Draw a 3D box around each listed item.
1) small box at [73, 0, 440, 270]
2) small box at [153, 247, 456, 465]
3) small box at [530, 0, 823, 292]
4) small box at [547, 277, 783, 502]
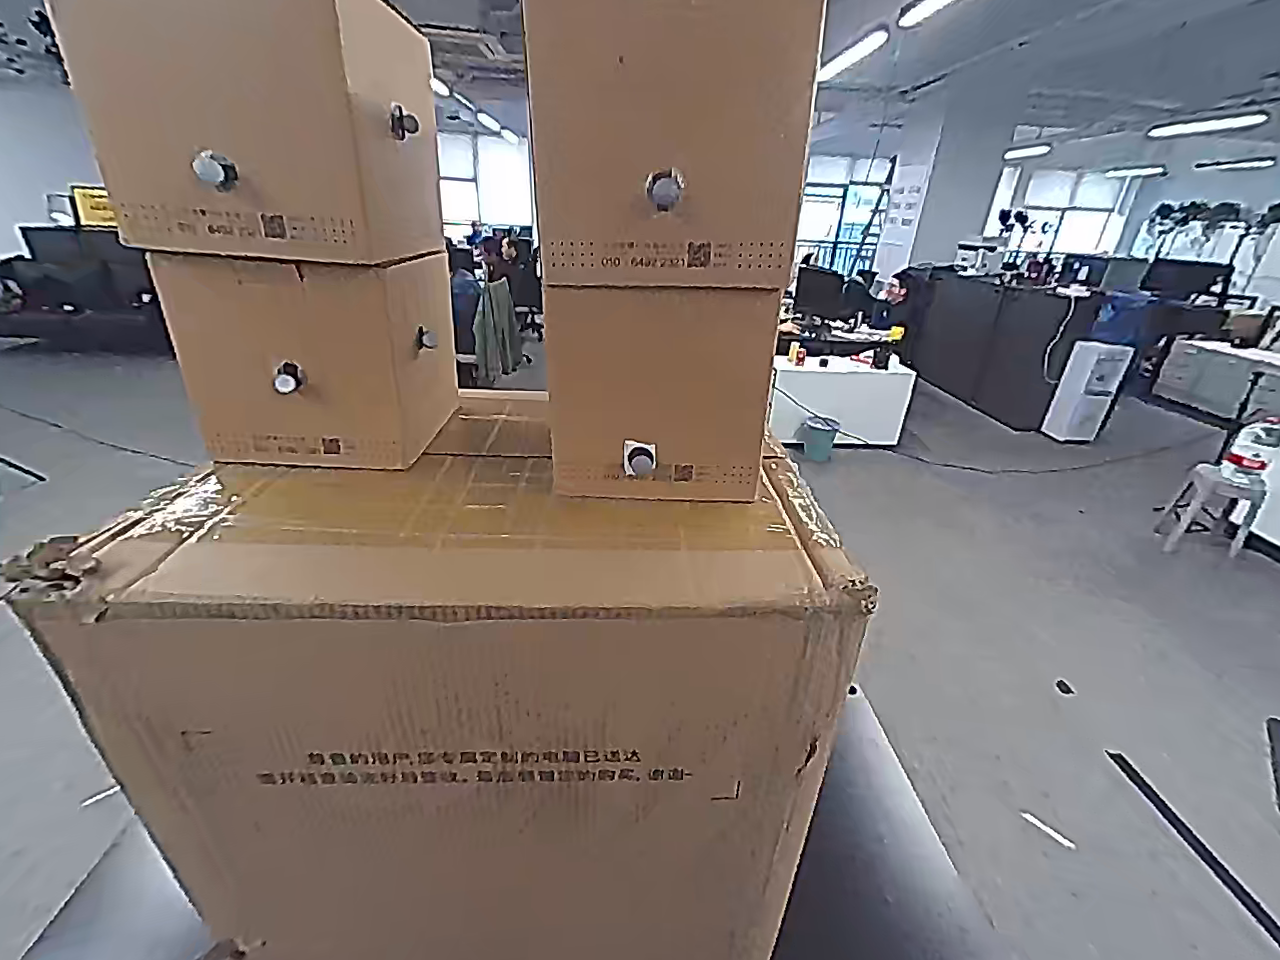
[{"bbox_3d":[-0.262,-0.263,0.412,0.168,0.176,0.179,3,27,-3],"label":"small box"},{"bbox_3d":[-0.276,-0.123,0.500,0.168,0.176,0.179,2,27,-4],"label":"small box"},{"bbox_3d":[0.021,-0.239,0.398,0.168,0.176,0.179,1,27,2],"label":"small box"},{"bbox_3d":[0.017,-0.095,0.478,0.168,0.176,0.179,0,28,0],"label":"small box"}]
